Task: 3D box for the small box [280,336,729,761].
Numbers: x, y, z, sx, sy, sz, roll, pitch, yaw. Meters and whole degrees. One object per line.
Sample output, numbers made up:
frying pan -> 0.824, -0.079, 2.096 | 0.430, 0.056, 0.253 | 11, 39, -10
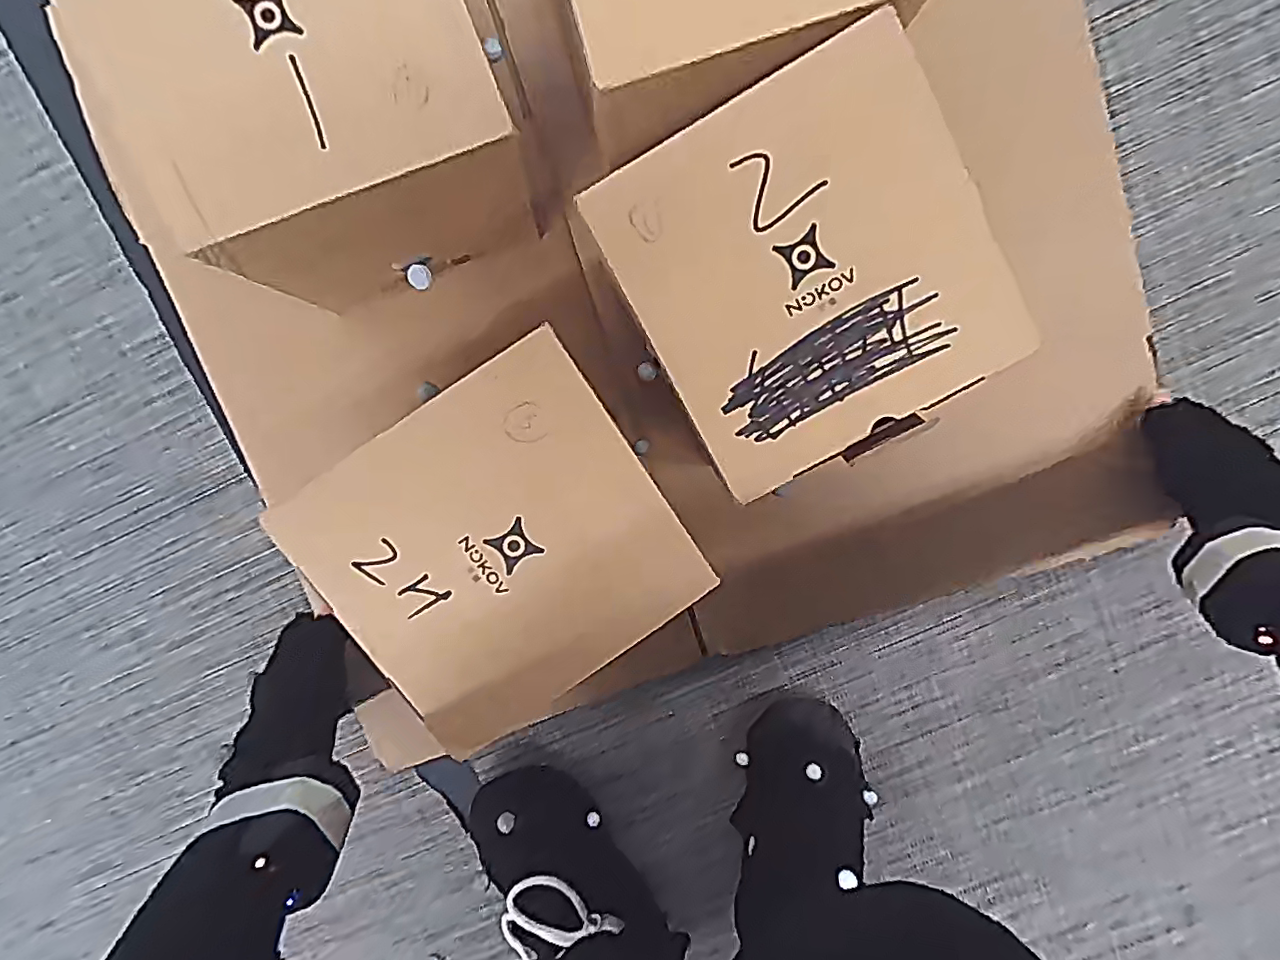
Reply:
small box -> -0.073, 0.029, 0.358 | 0.179, 0.176, 0.168 | -34, 99, -1
